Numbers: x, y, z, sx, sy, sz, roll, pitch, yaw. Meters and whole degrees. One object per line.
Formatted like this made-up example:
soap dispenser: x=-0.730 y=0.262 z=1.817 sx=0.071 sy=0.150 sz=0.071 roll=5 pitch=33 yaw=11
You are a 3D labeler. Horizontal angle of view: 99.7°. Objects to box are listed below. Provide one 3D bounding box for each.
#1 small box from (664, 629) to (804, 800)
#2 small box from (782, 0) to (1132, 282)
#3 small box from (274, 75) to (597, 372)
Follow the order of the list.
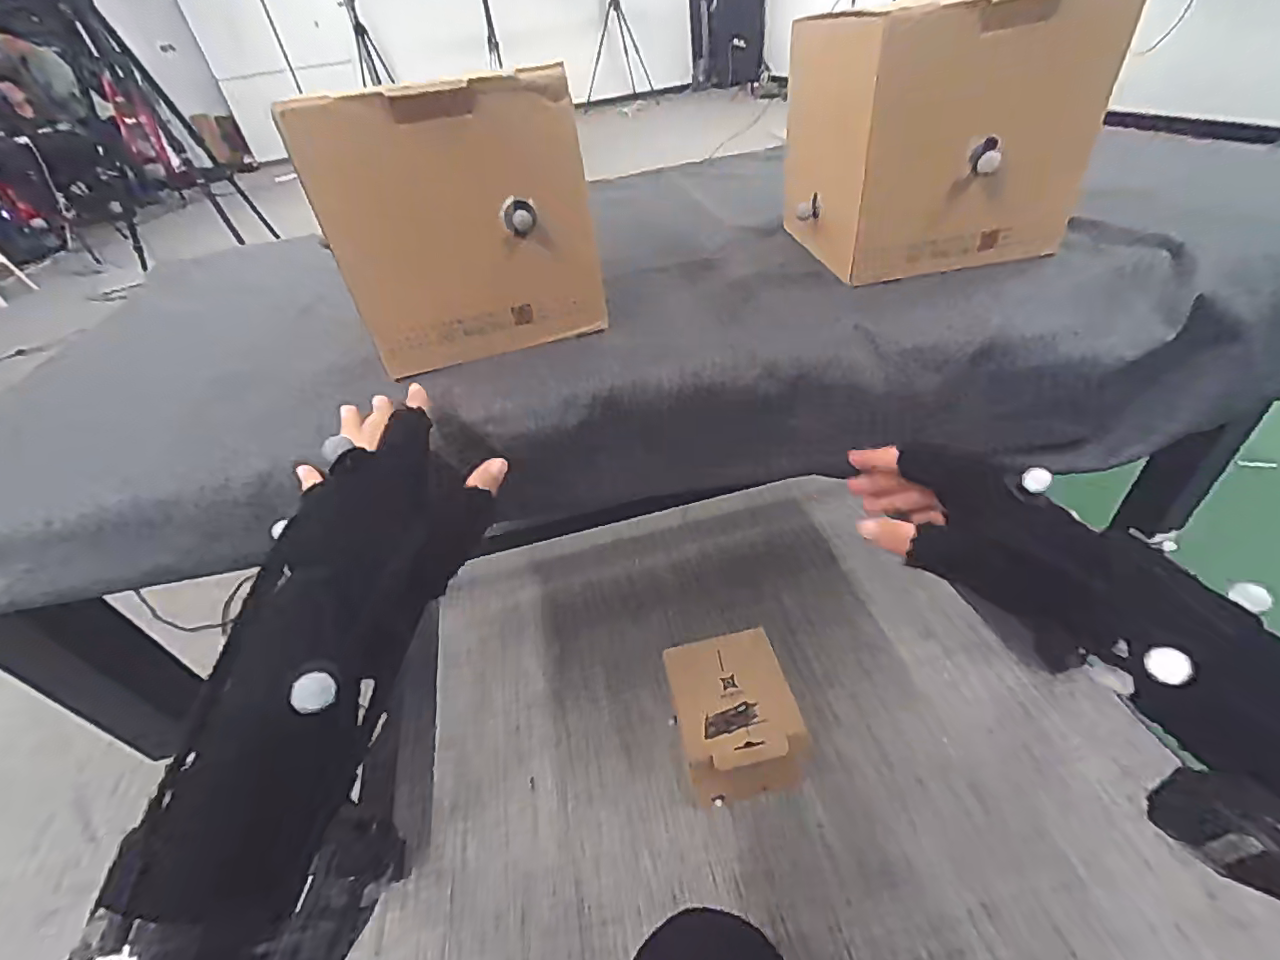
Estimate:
small box: x=0.141 y=0.365 z=0.834 sx=0.168 sy=0.176 sz=0.179 roll=-12 pitch=38 yaw=-3
small box: x=0.221 y=-0.272 z=0.438 sx=0.168 sy=0.176 sz=0.179 roll=-9 pitch=40 yaw=0
small box: x=-0.138 y=-0.197 z=0.420 sx=0.168 sy=0.176 sz=0.179 roll=-15 pitch=38 yaw=-10
